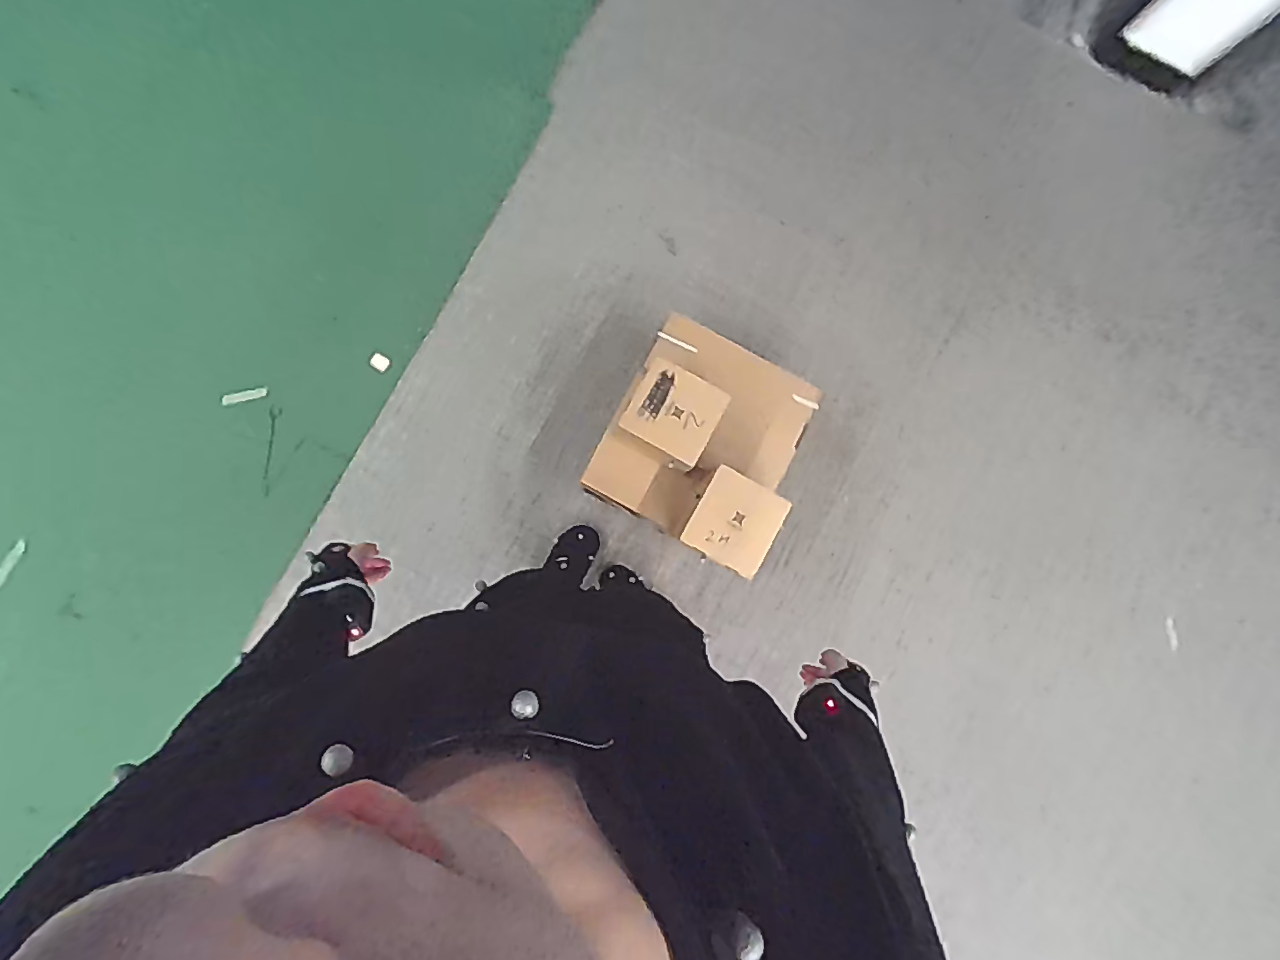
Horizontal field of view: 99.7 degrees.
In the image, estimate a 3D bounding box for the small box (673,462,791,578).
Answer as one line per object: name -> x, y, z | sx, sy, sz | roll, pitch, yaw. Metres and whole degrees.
small box -> 0.183, 0.083, 1.137 | 0.168, 0.176, 0.179 | 30, 85, -1
